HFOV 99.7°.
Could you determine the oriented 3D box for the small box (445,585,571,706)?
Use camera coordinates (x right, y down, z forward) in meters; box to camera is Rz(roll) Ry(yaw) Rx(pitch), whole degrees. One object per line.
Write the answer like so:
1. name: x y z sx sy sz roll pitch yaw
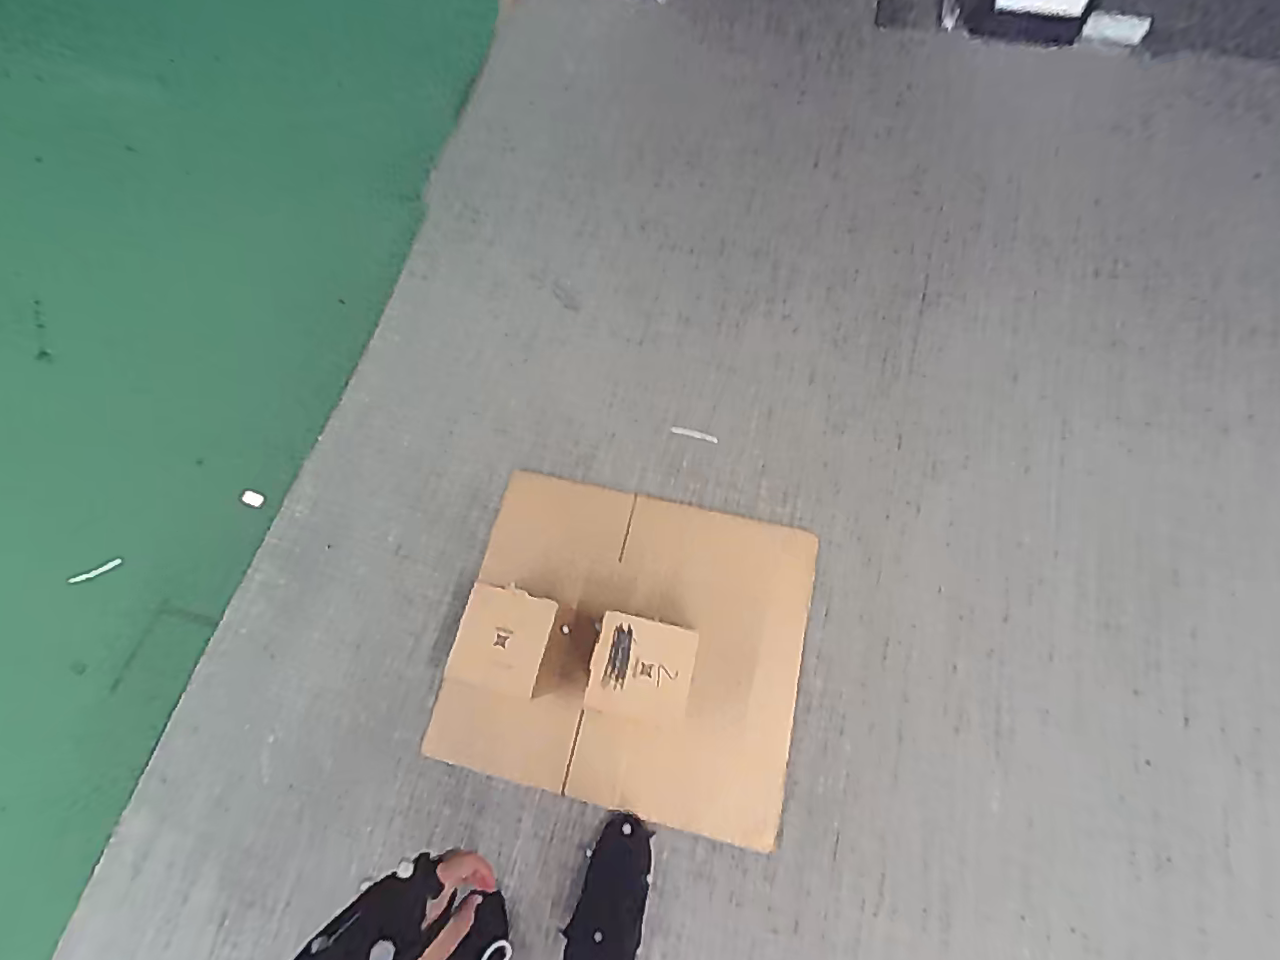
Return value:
1. small box: -0.239 0.315 1.033 0.168 0.176 0.179 12 73 8
